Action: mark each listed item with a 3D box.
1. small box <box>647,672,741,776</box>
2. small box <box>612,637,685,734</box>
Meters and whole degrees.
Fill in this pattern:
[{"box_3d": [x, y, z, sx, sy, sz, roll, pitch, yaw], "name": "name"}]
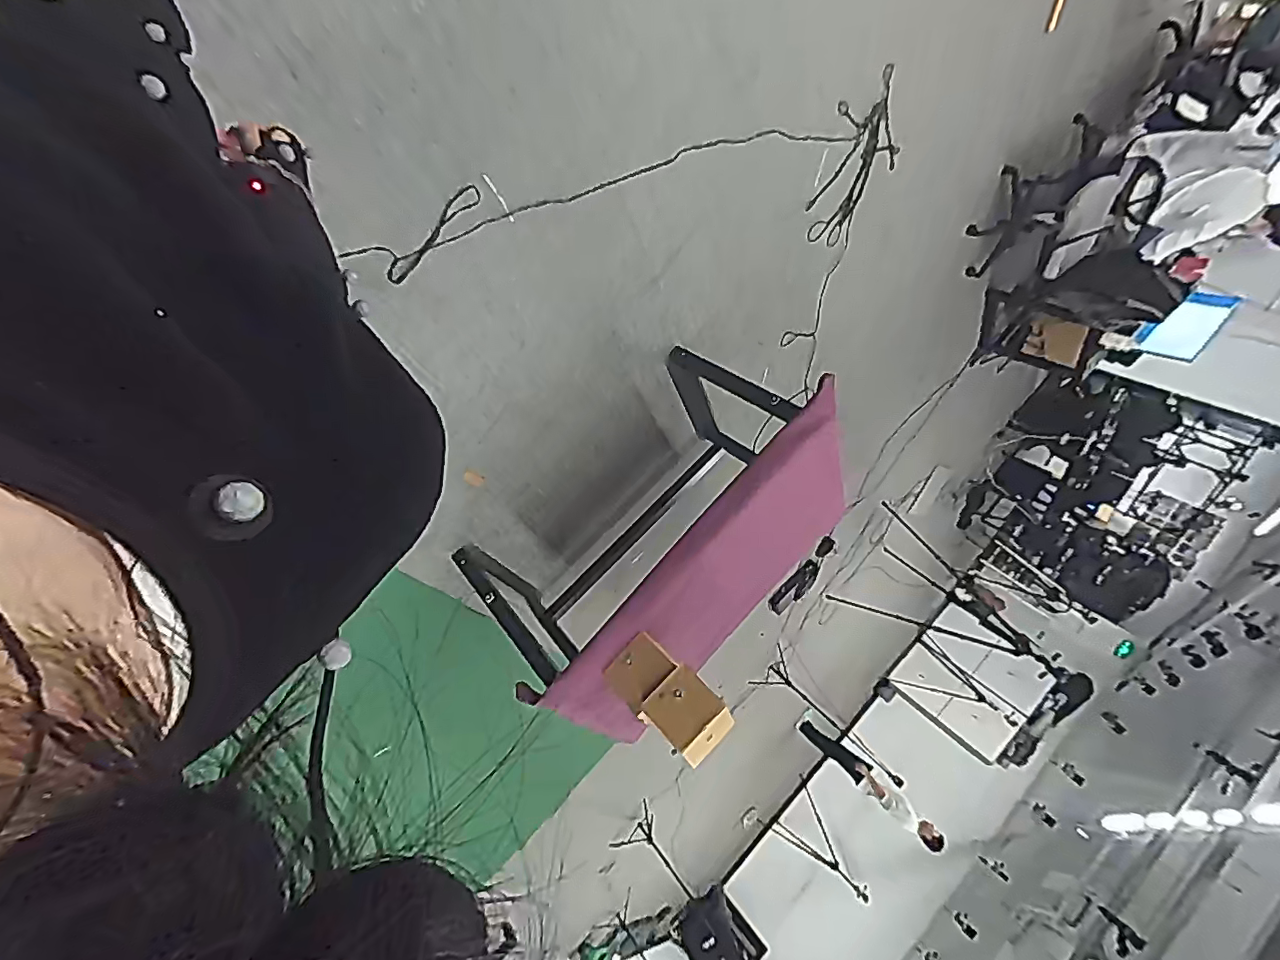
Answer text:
[{"box_3d": [0.145, 0.648, 1.444, 0.168, 0.176, 0.179, -41, 140, -15], "name": "small box"}, {"box_3d": [0.041, 0.591, 1.558, 0.179, 0.176, 0.168, -46, 142, -9], "name": "small box"}]
